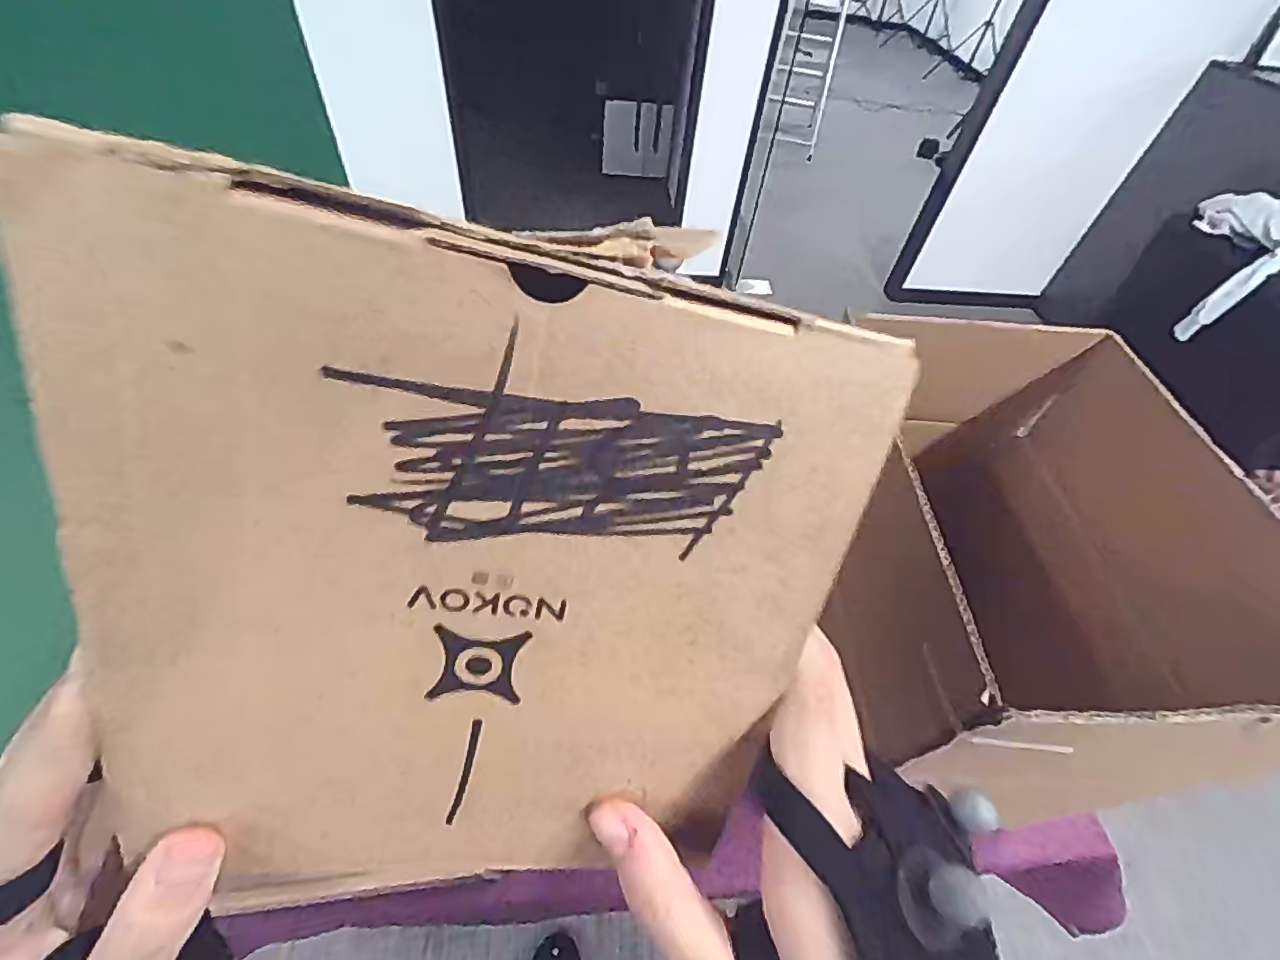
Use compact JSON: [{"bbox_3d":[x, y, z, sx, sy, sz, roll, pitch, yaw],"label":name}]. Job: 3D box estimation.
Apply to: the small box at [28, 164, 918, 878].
[{"bbox_3d":[-0.046,0.007,0.204,0.168,0.179,0.176,9,24,-12],"label":"small box"}]
